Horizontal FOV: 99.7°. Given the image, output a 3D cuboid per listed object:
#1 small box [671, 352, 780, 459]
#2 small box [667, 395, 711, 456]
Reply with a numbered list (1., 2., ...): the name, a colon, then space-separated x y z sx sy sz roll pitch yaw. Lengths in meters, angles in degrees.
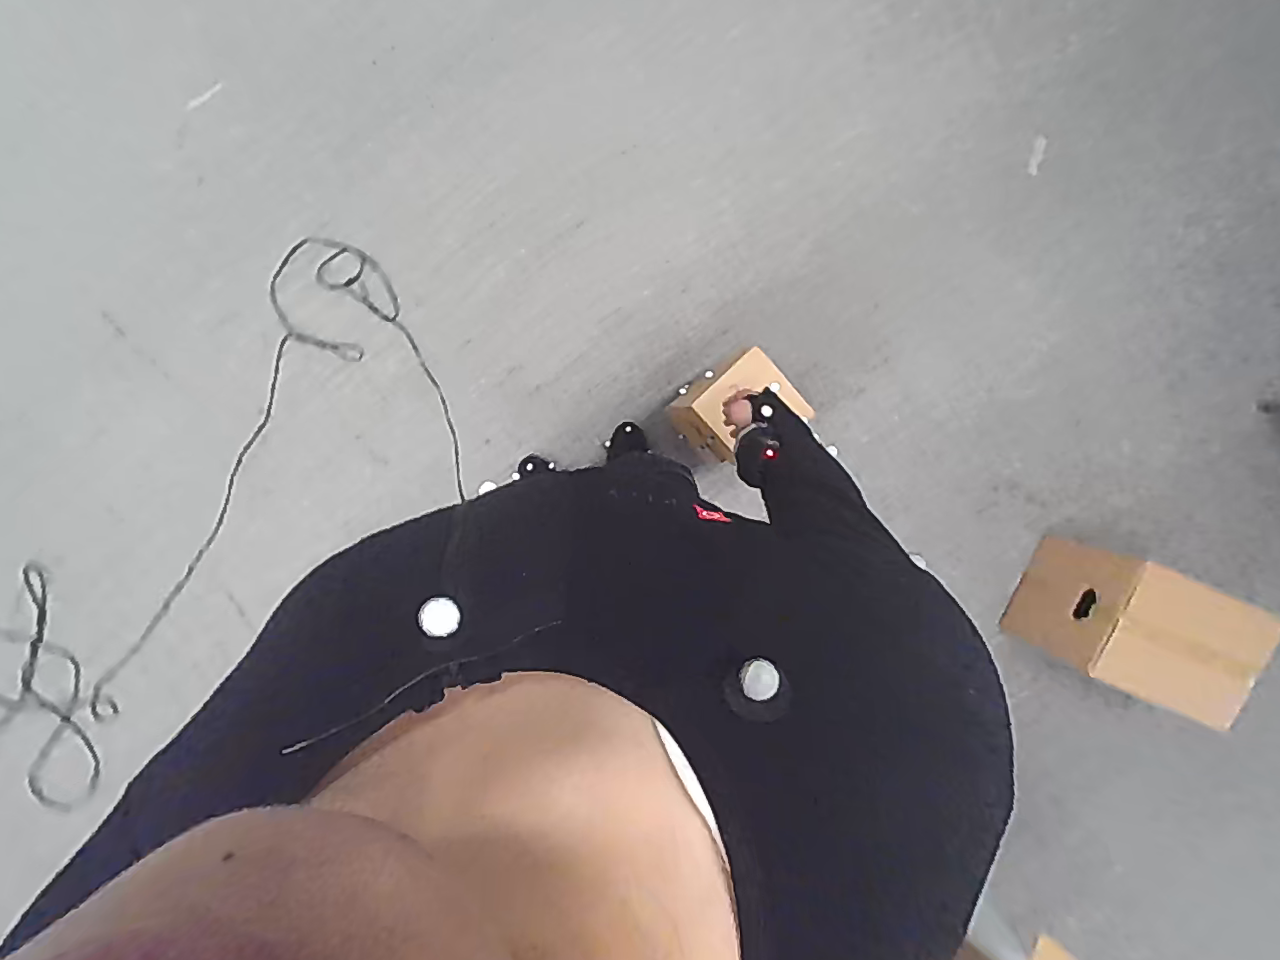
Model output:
1. small box: 0.187 -0.169 1.250 0.179 0.176 0.168 -40 99 0
2. small box: 0.183 -0.181 1.412 0.179 0.176 0.168 -37 98 1
